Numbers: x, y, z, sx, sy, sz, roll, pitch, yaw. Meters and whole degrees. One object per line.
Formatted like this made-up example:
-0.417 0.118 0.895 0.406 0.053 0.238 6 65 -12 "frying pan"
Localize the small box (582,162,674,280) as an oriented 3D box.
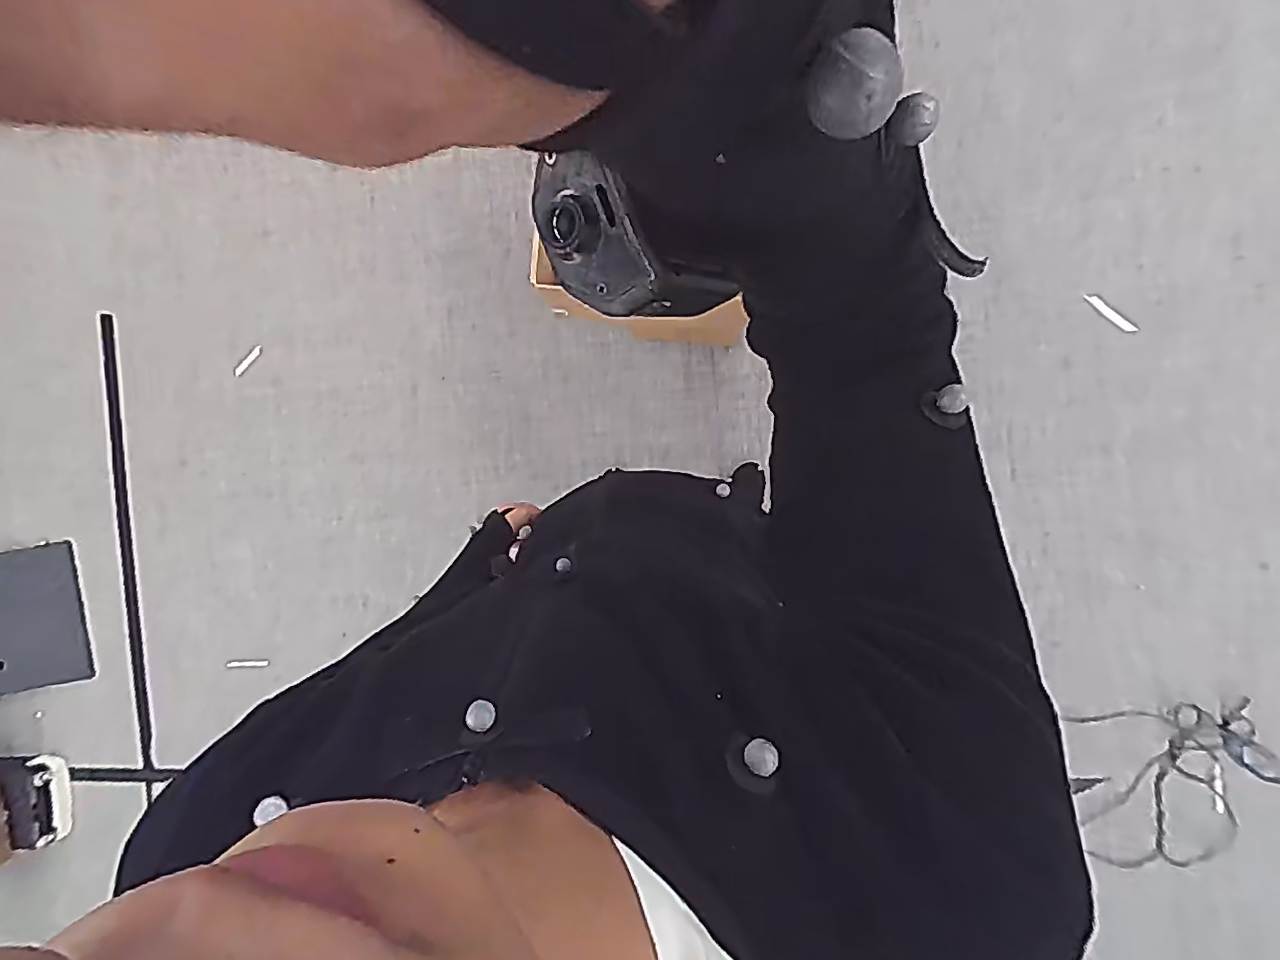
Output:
-0.018 -0.529 1.125 0.168 0.176 0.179 3 91 6 "small box"
